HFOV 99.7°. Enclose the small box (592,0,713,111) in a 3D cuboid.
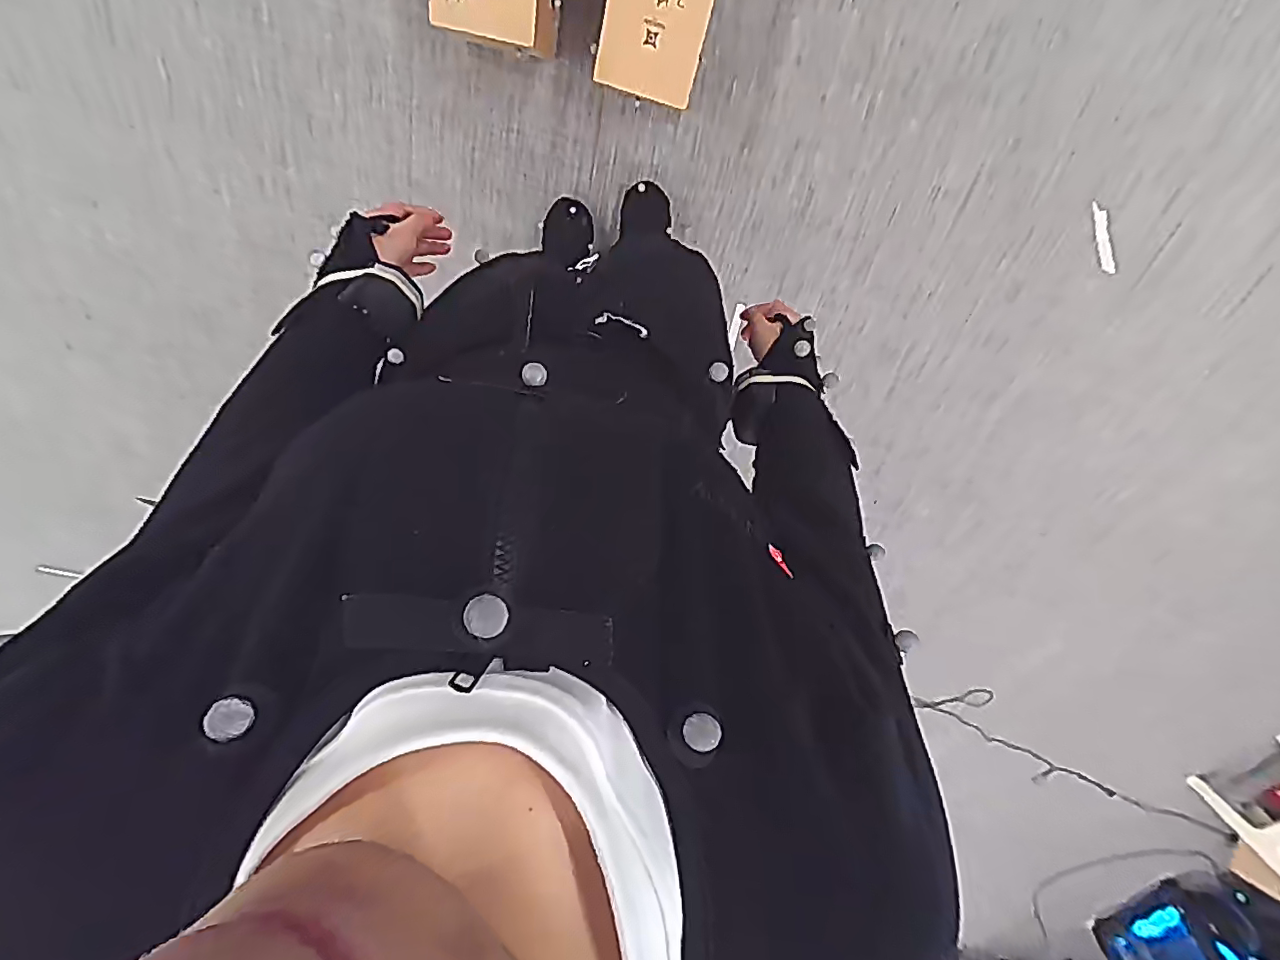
[{"bbox_3d":[0.024,-0.764,0.937,0.168,0.176,0.179,14,122,-6],"label":"small box"}]
